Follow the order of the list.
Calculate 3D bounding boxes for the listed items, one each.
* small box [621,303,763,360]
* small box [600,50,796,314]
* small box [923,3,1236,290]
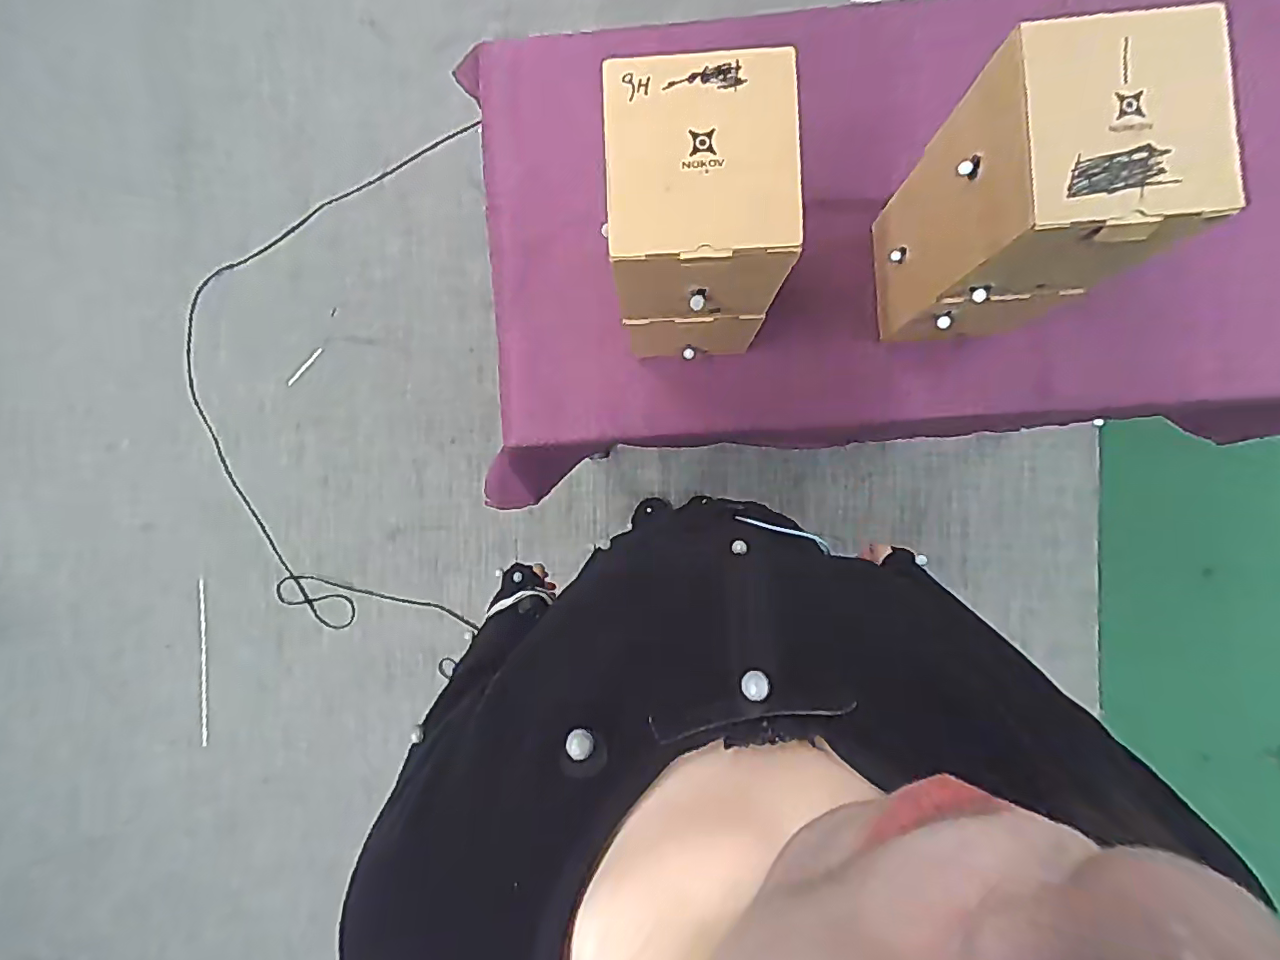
[{"bbox_3d":[0.061,-0.265,0.703,0.168,0.176,0.179,-2,89,3],"label":"small box"},{"bbox_3d":[0.053,-0.272,0.538,0.168,0.176,0.179,-2,89,2],"label":"small box"},{"bbox_3d":[0.398,-0.296,0.523,0.168,0.176,0.179,-4,87,3],"label":"small box"}]
